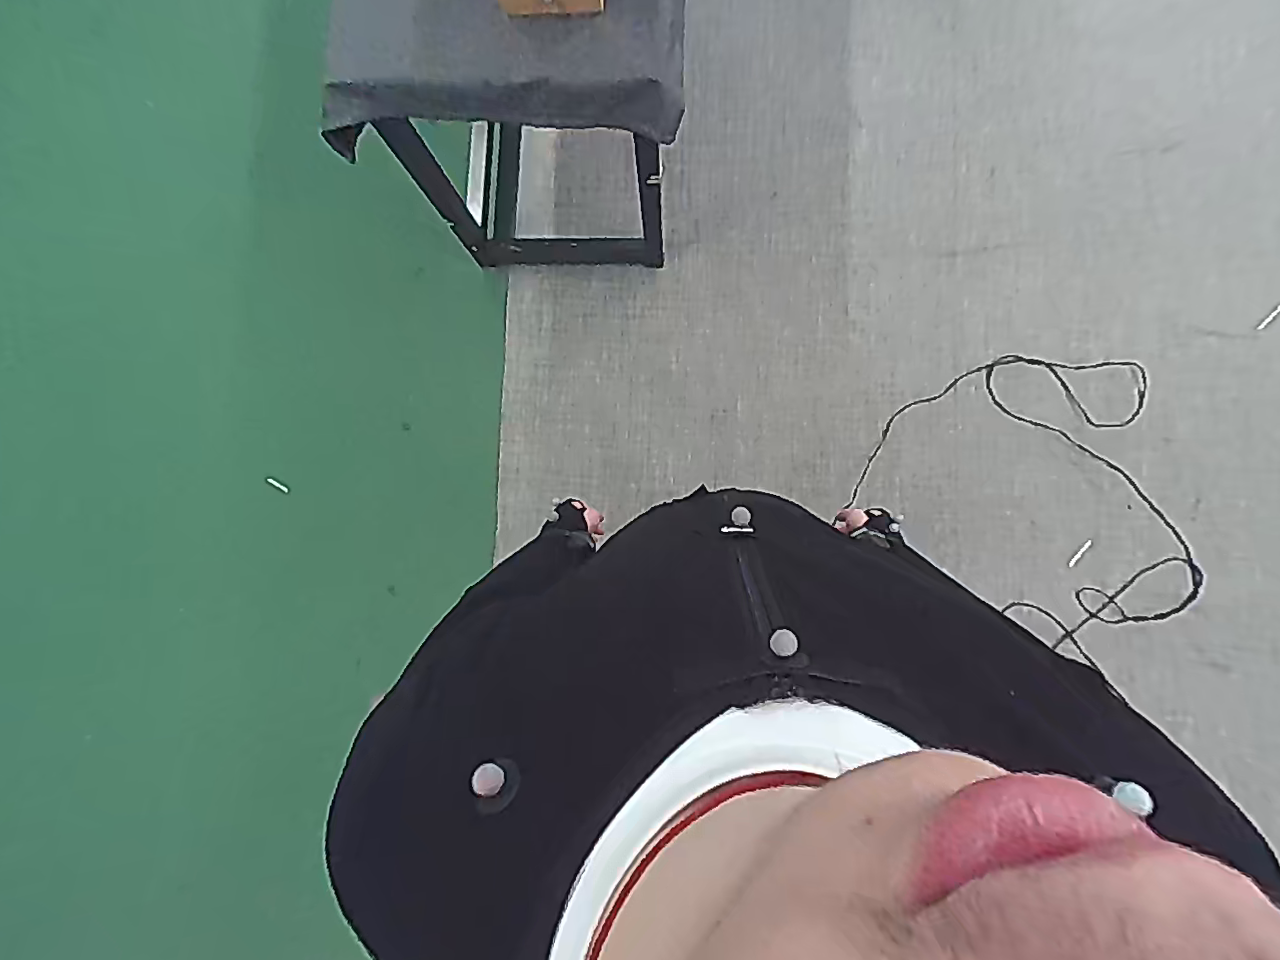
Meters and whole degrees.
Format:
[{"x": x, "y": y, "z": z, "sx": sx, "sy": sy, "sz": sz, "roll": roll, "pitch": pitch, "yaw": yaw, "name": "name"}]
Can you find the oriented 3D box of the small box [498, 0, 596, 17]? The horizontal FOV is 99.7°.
[{"x": -0.155, "y": -0.890, "z": 0.865, "sx": 0.179, "sy": 0.176, "sz": 0.168, "roll": 3, "pitch": 85, "yaw": 4, "name": "small box"}]
